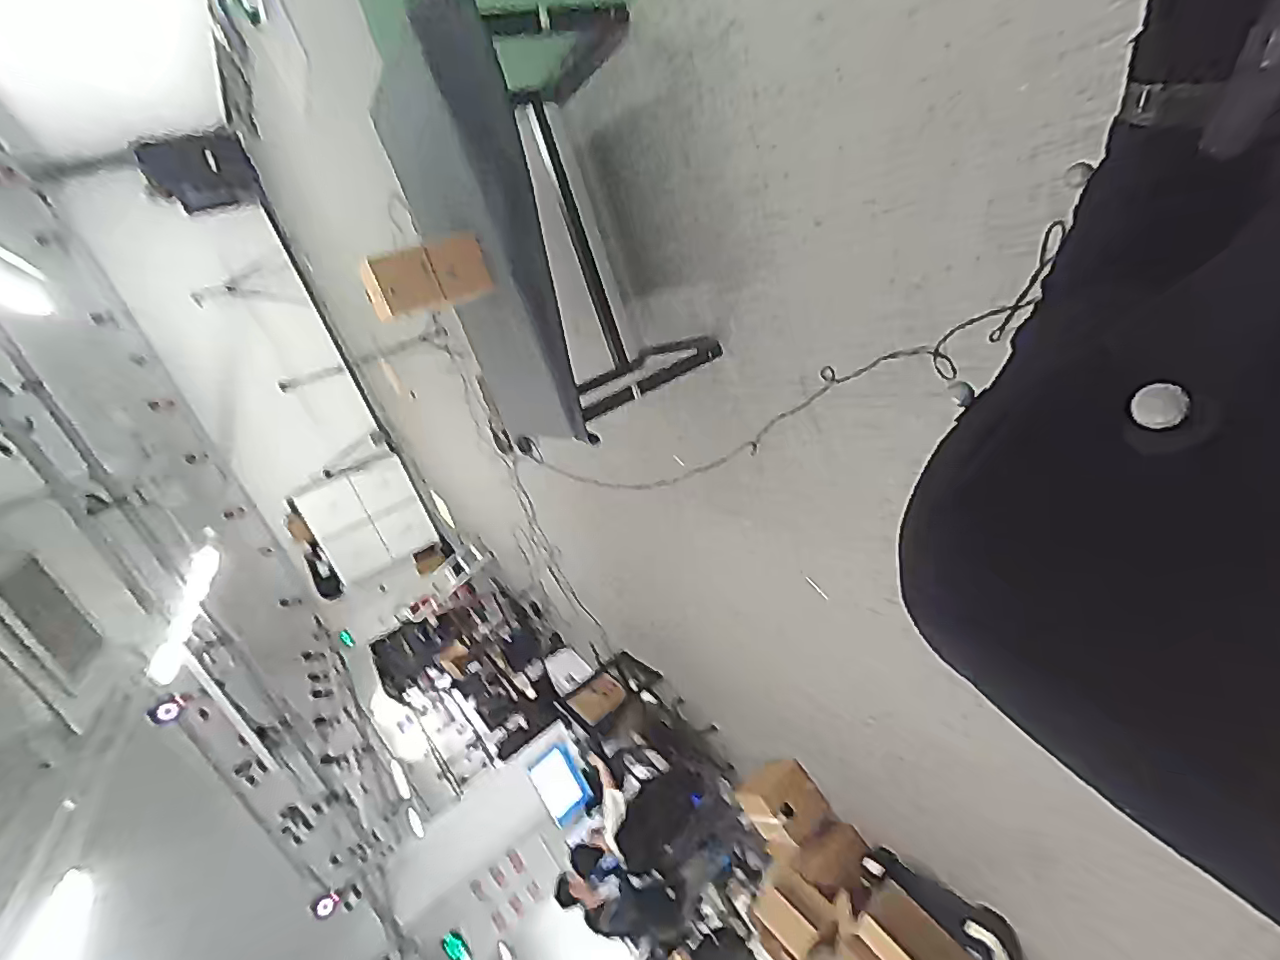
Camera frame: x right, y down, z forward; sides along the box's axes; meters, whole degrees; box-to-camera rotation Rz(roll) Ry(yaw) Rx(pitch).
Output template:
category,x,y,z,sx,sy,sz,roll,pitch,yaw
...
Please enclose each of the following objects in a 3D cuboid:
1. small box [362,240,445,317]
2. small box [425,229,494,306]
category,x,y,z,sx,sy,sz,roll,pitch,yaw
small box,-0.714,-0.608,1.639,0.179,0.176,0.168,9,122,55
small box,-0.586,-0.672,1.713,0.168,0.176,0.179,12,125,55
